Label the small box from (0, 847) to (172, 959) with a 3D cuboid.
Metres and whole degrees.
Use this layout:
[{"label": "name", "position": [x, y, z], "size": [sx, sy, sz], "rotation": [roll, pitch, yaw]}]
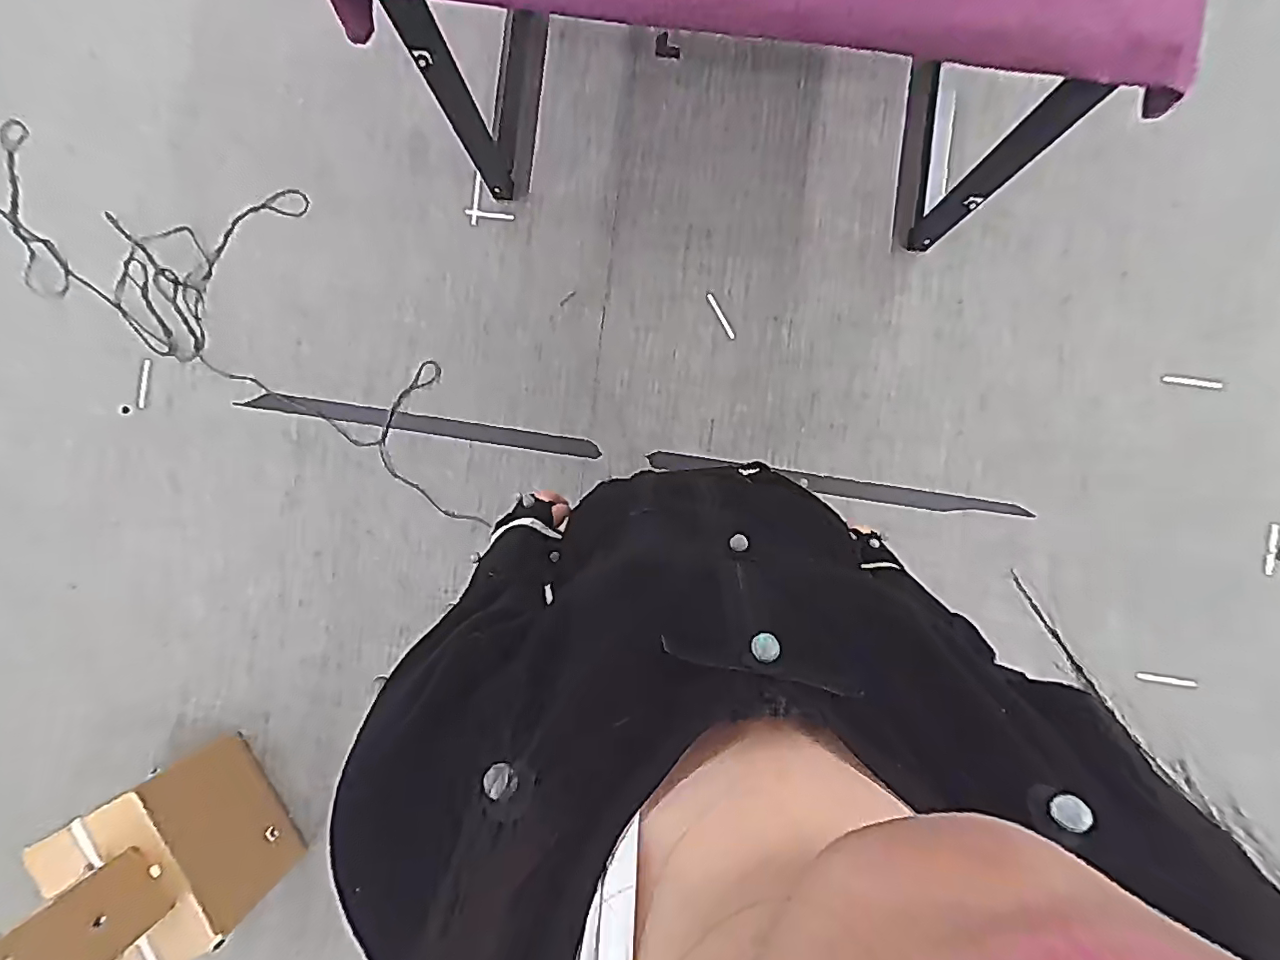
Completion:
[{"label": "small box", "position": [-1.161, 0.940, 1.145], "size": [0.168, 0.176, 0.179], "rotation": [-33, 88, 0]}]
